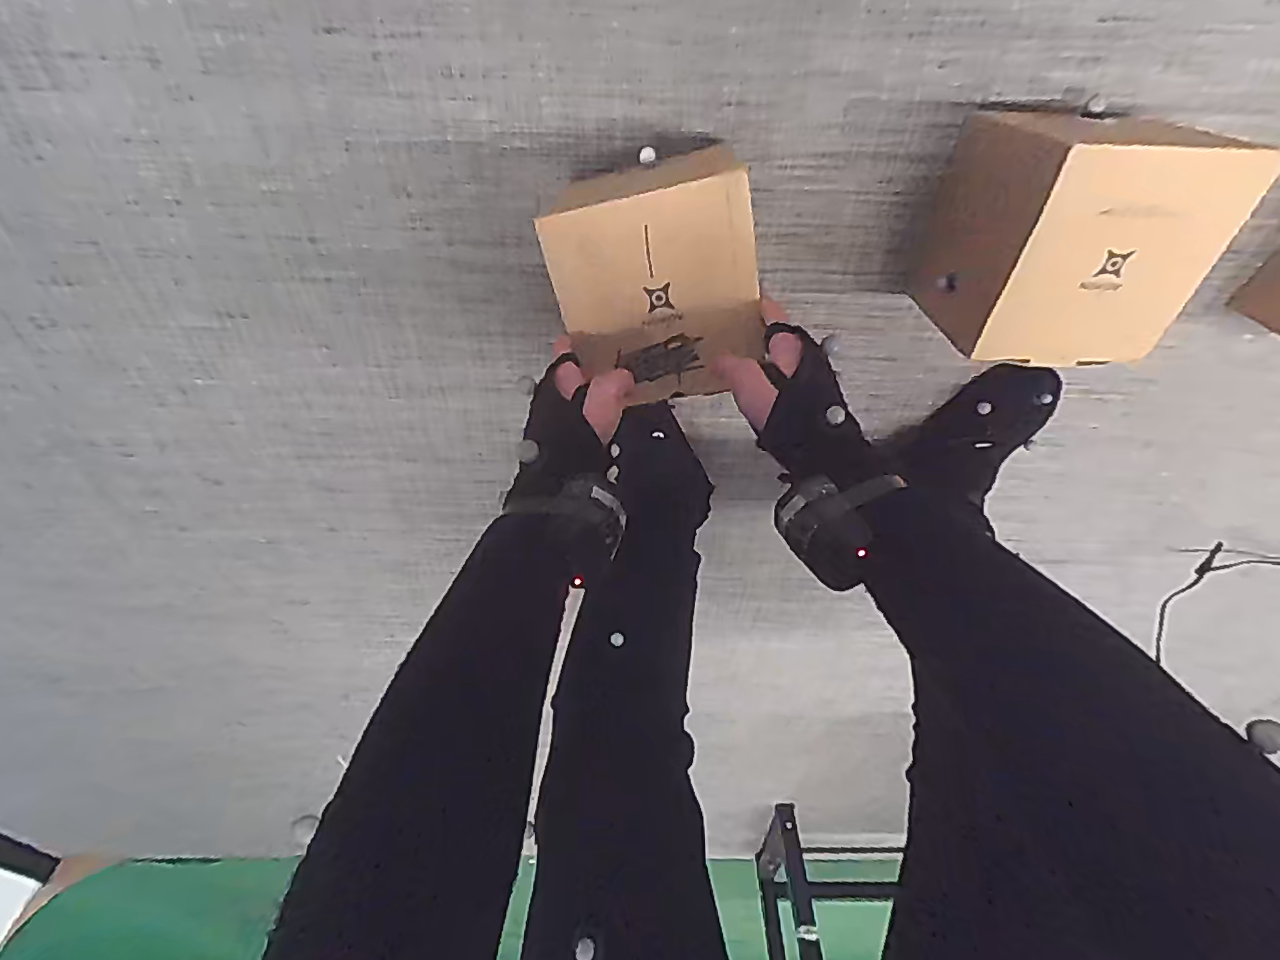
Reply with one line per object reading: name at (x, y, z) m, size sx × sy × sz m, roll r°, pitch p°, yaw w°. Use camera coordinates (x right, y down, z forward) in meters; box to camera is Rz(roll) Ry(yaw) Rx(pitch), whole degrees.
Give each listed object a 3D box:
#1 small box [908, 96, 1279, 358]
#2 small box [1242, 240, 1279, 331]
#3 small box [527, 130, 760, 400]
small box at (0.377, -0.233, 0.499) m, size 0.168 × 0.176 × 0.179 m, roll 1°, pitch 132°, yaw -2°
small box at (0.765, -0.201, 0.521) m, size 0.168 × 0.176 × 0.179 m, roll 10°, pitch 133°, yaw -7°
small box at (0.017, -0.200, 0.502) m, size 0.168 × 0.176 × 0.179 m, roll -8°, pitch 127°, yaw 10°
